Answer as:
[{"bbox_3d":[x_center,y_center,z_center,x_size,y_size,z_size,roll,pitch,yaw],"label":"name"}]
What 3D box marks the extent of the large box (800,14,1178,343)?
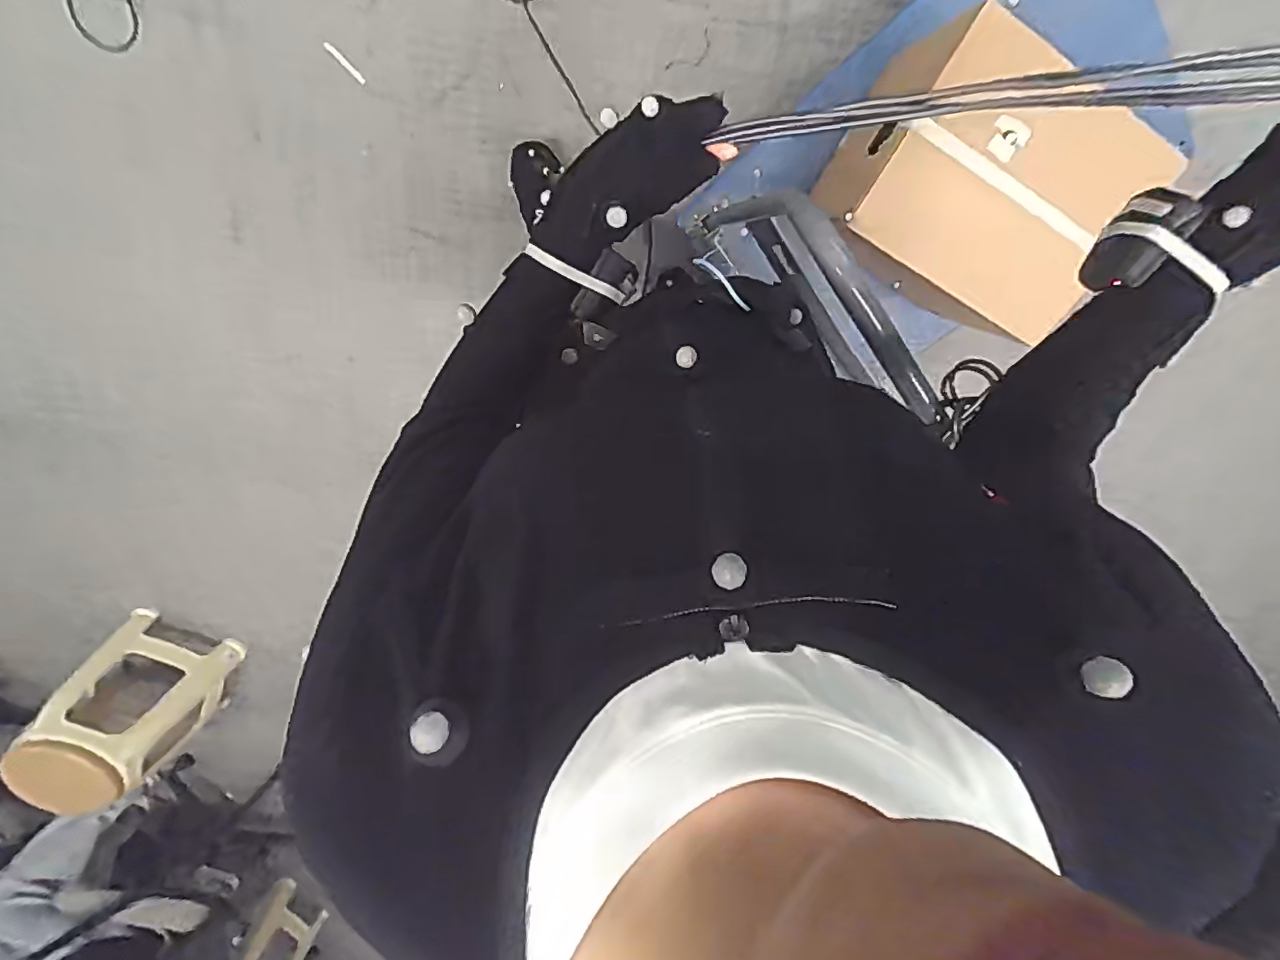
[{"bbox_3d":[0.567,-0.500,0.964,0.408,0.320,0.320,26,113,-11],"label":"large box"}]
